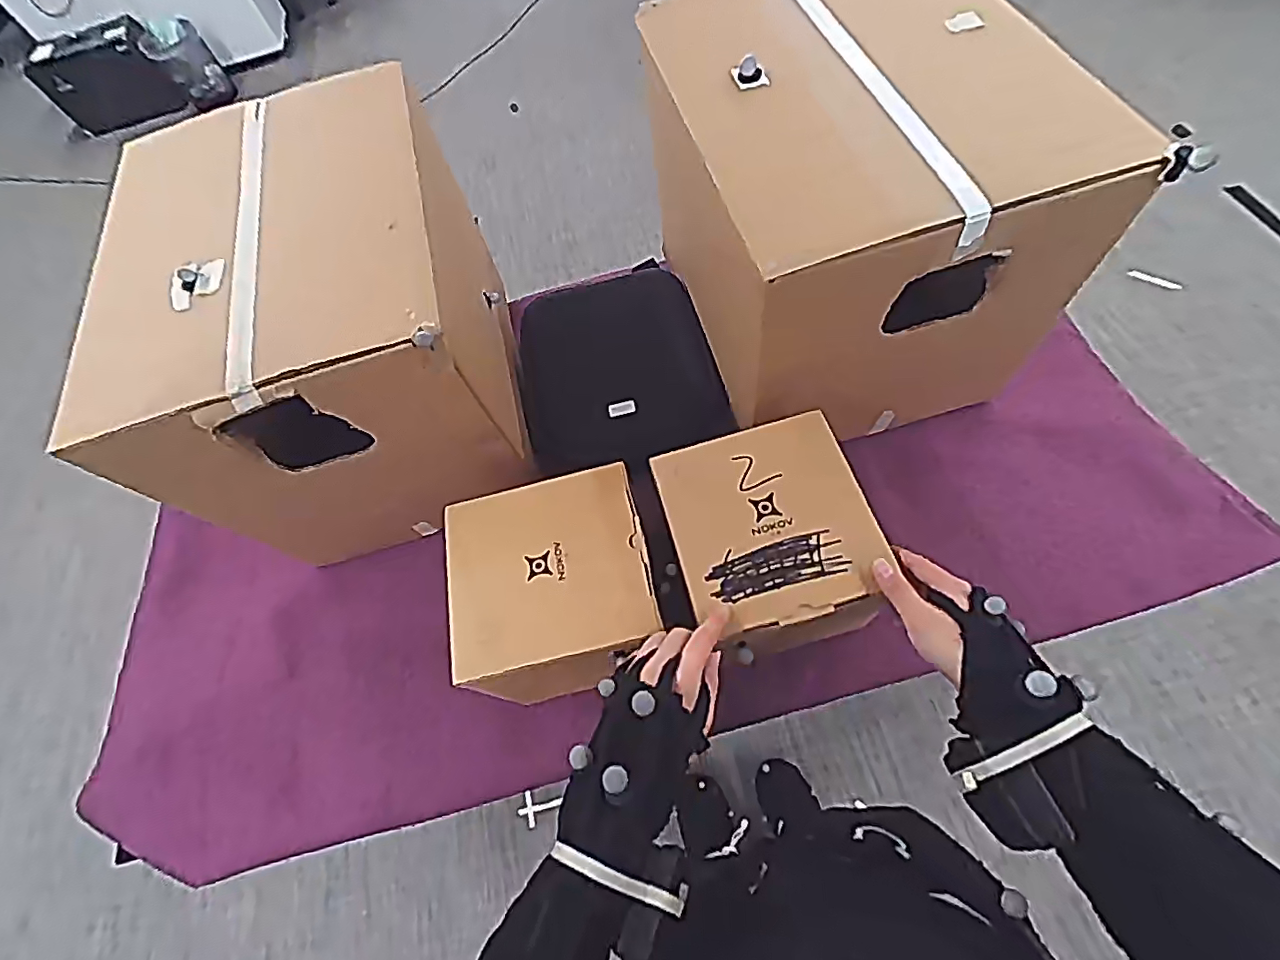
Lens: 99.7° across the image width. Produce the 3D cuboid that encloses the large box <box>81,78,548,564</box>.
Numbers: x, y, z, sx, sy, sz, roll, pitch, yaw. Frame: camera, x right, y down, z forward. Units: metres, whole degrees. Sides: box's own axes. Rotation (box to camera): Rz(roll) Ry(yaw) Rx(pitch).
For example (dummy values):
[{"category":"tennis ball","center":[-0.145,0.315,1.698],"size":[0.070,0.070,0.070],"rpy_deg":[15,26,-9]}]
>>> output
[{"category":"large box","center":[-0.331,-0.165,0.639],"size":[0.320,0.320,0.408],"rpy_deg":[-18,65,0]}]
